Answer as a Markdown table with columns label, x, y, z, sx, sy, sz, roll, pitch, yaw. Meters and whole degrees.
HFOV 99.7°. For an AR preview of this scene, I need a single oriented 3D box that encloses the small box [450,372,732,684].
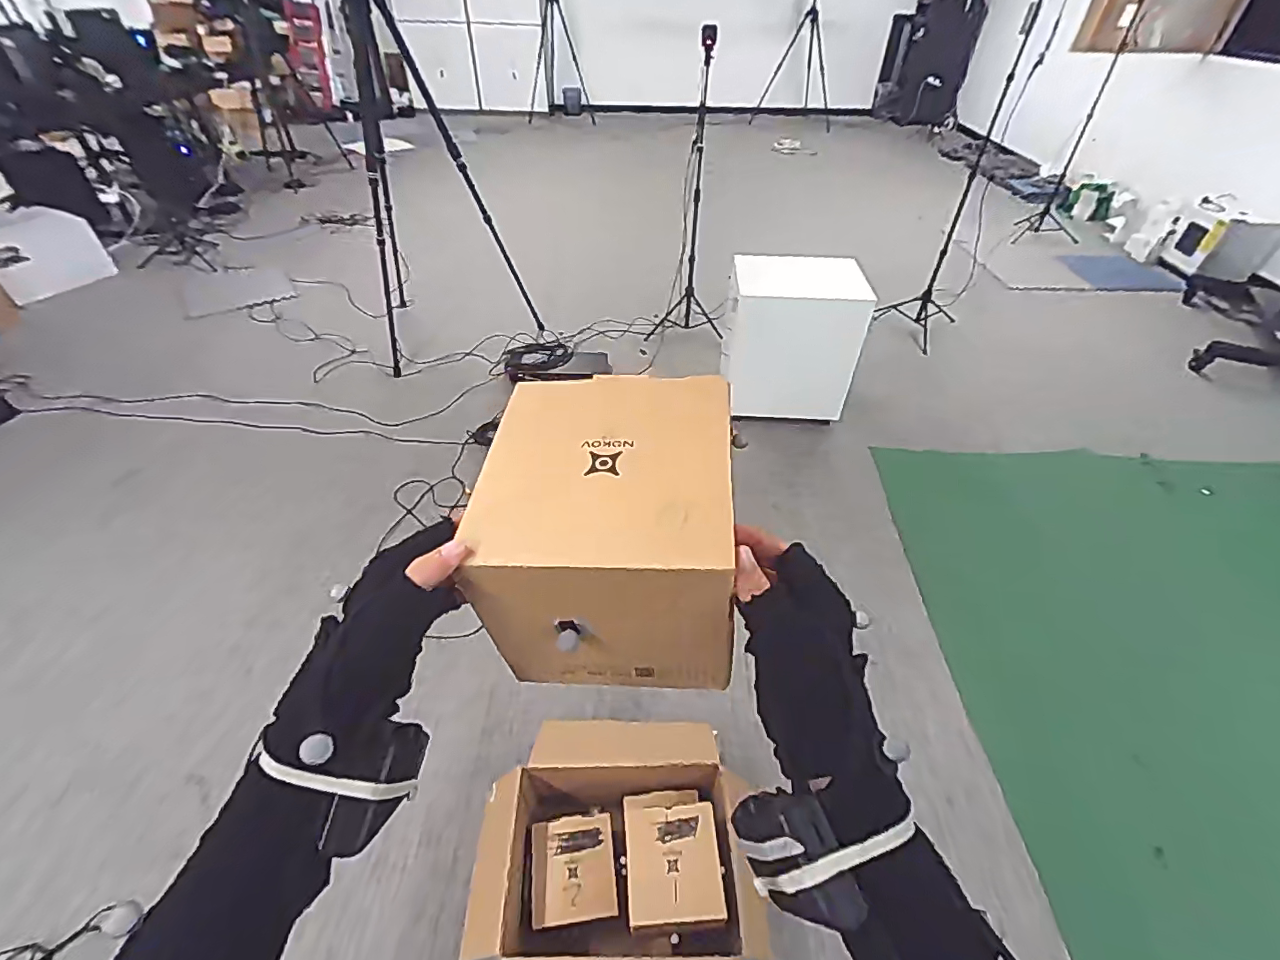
| label | x | y | z | sx | sy | sz | roll | pitch | yaw |
| --- | --- | --- | --- | --- | --- | --- | --- | --- | --- |
| small box | -0.014 | 0.039 | 0.412 | 0.168 | 0.176 | 0.179 | 0 | 46 | 7 |
